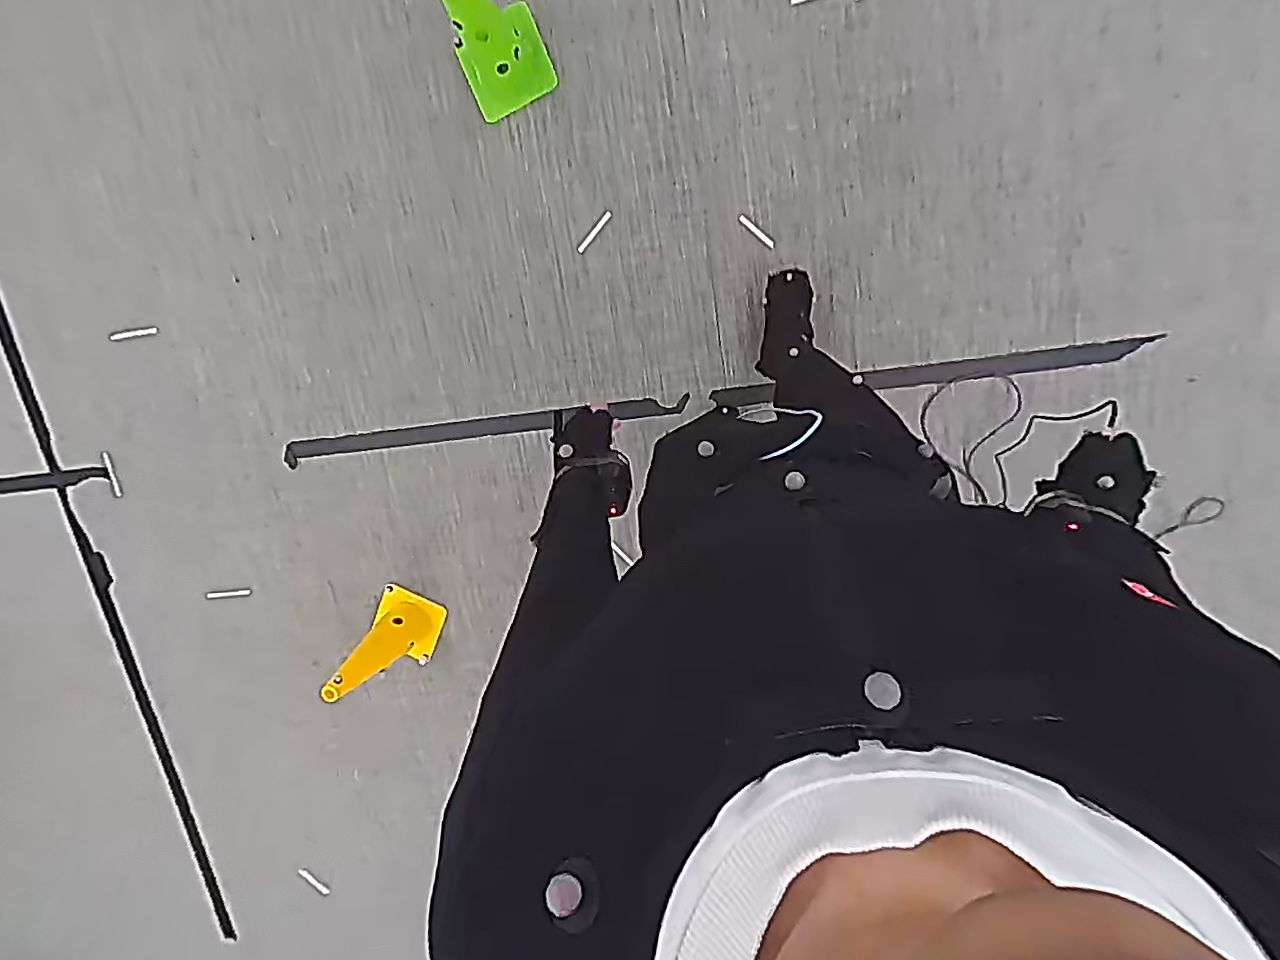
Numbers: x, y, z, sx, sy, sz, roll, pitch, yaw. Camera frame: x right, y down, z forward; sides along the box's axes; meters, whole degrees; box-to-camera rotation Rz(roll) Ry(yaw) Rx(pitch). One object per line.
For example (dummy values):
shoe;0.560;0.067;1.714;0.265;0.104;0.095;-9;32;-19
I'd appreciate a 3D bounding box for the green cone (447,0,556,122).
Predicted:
green cone;-0.338;-0.947;1.111;0.202;0.368;0.200;-23;99;10
